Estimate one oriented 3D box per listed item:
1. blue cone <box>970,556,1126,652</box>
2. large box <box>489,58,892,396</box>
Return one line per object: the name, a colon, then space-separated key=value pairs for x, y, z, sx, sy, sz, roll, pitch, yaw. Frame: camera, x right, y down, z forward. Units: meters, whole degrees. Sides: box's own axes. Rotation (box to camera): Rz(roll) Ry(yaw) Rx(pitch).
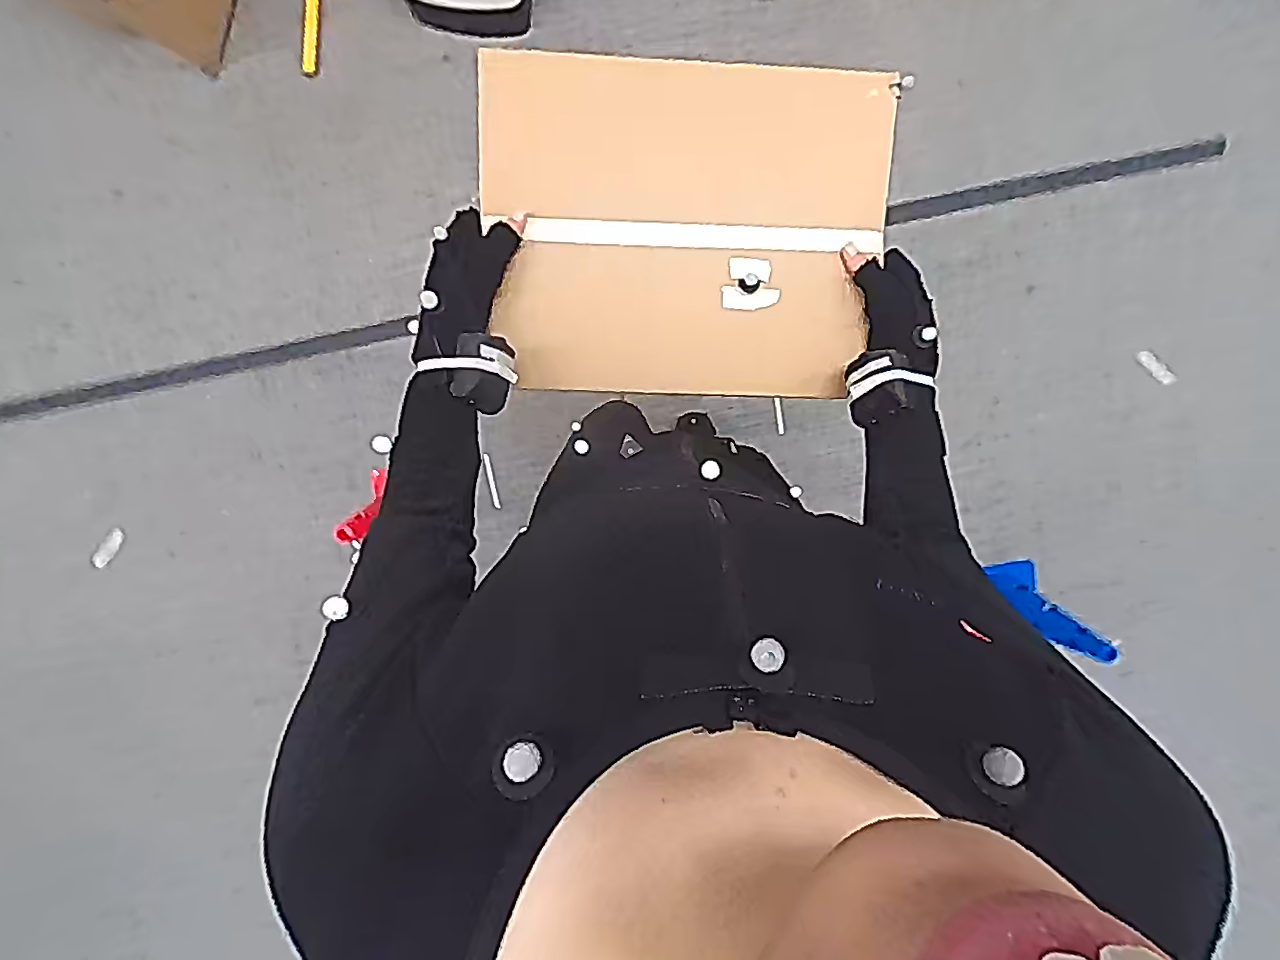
blue cone: x=1.036 y=0.340 z=1.369 sx=0.192 sy=0.380 sz=0.193 roll=-8 pitch=98 yaw=0
large box: x=0.040 y=-0.272 z=0.696 sx=0.408 sy=0.320 sz=0.320 roll=2 pitch=101 yaw=-3
